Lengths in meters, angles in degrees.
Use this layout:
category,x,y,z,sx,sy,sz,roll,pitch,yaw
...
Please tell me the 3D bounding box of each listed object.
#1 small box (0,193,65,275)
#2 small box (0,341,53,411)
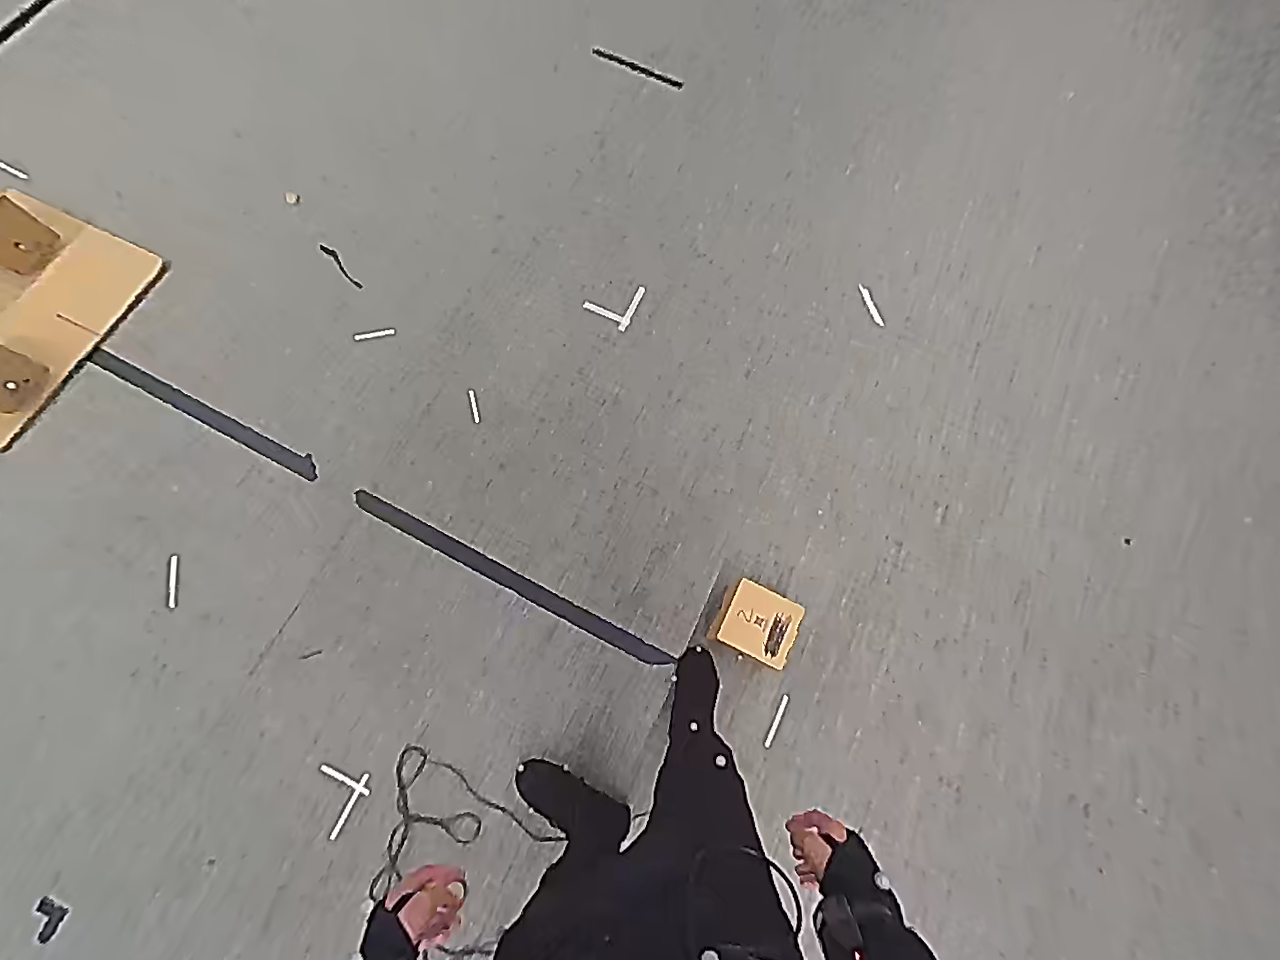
category,x,y,z,sx,sy,sz,roll,pitch,yaw
small box,-1.895,-0.739,1.594,0.179,0.176,0.168,22,74,3
small box,-1.796,-0.309,1.468,0.179,0.176,0.168,24,75,3
